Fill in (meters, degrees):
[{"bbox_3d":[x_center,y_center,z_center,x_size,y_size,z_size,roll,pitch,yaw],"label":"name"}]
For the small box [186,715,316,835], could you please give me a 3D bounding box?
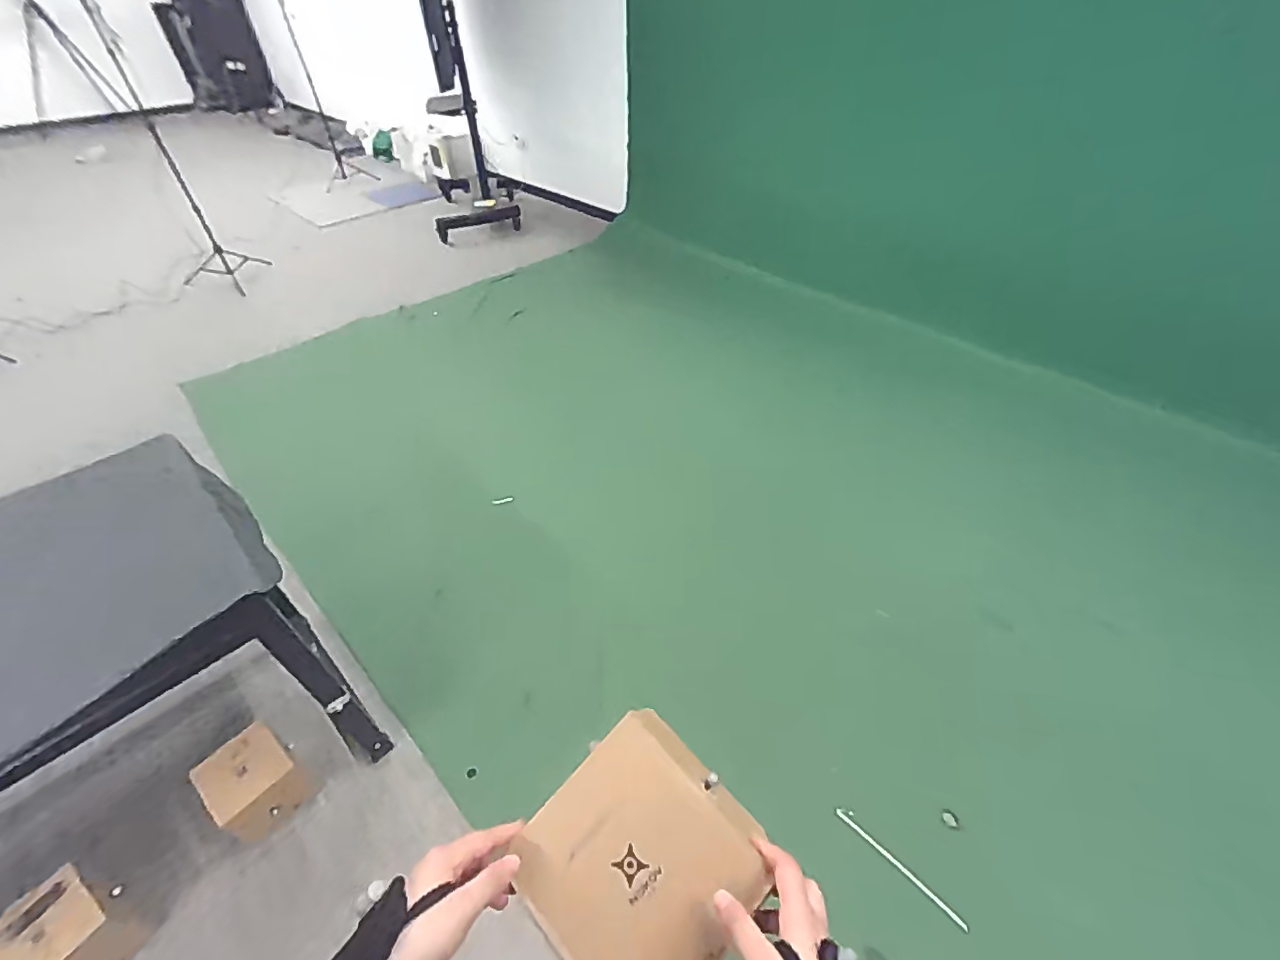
[{"bbox_3d":[-0.916,0.707,1.287,0.179,0.176,0.168,30,51,27],"label":"small box"}]
